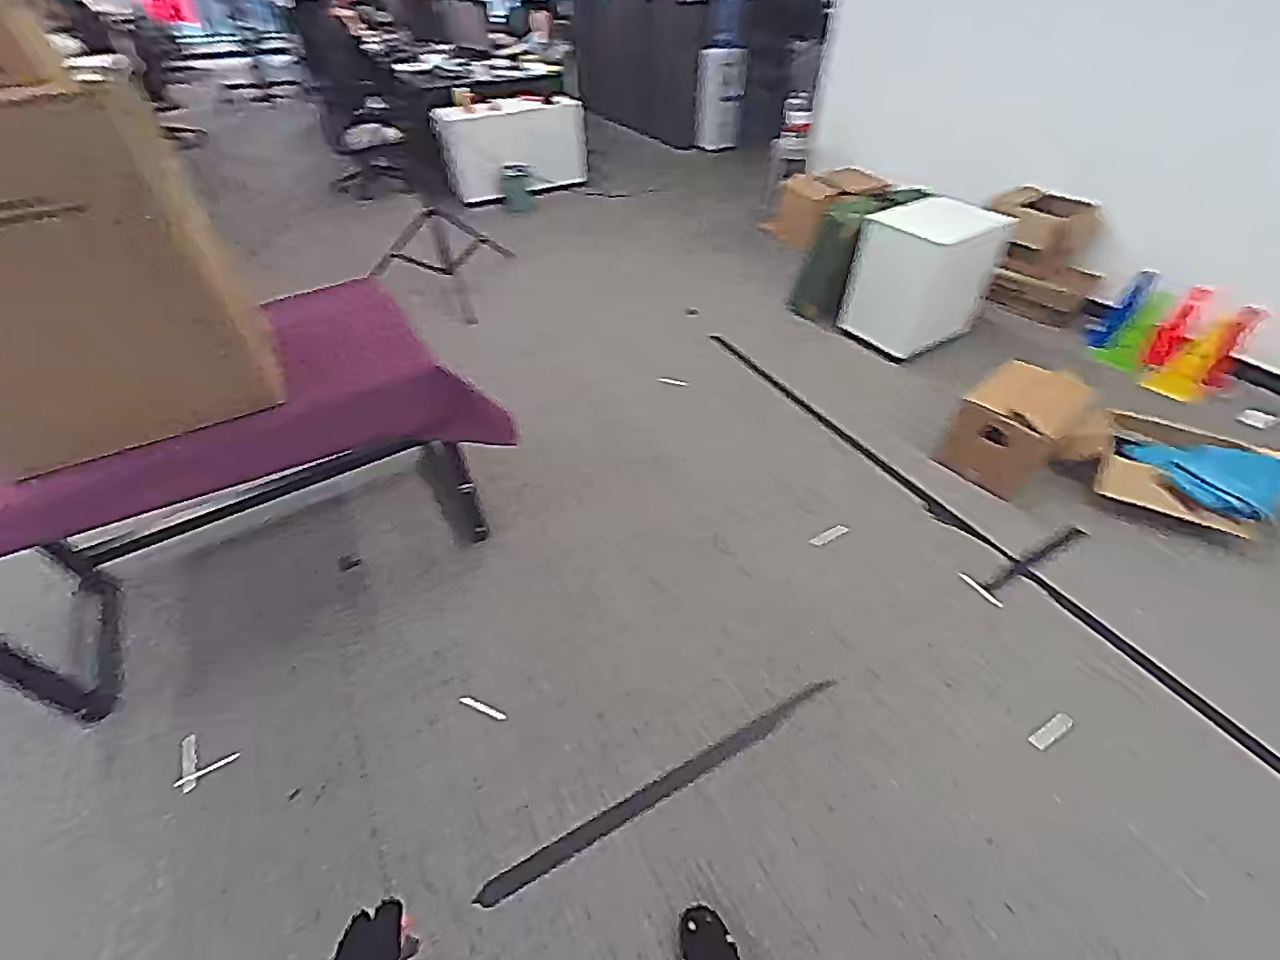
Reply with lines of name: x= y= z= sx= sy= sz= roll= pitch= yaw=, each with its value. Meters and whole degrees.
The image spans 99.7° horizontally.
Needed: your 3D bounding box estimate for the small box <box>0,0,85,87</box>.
small box: x=-1.043 y=-0.735 z=0.852 sx=0.168 sy=0.176 sz=0.179 roll=-20 pitch=49 yaw=-17
